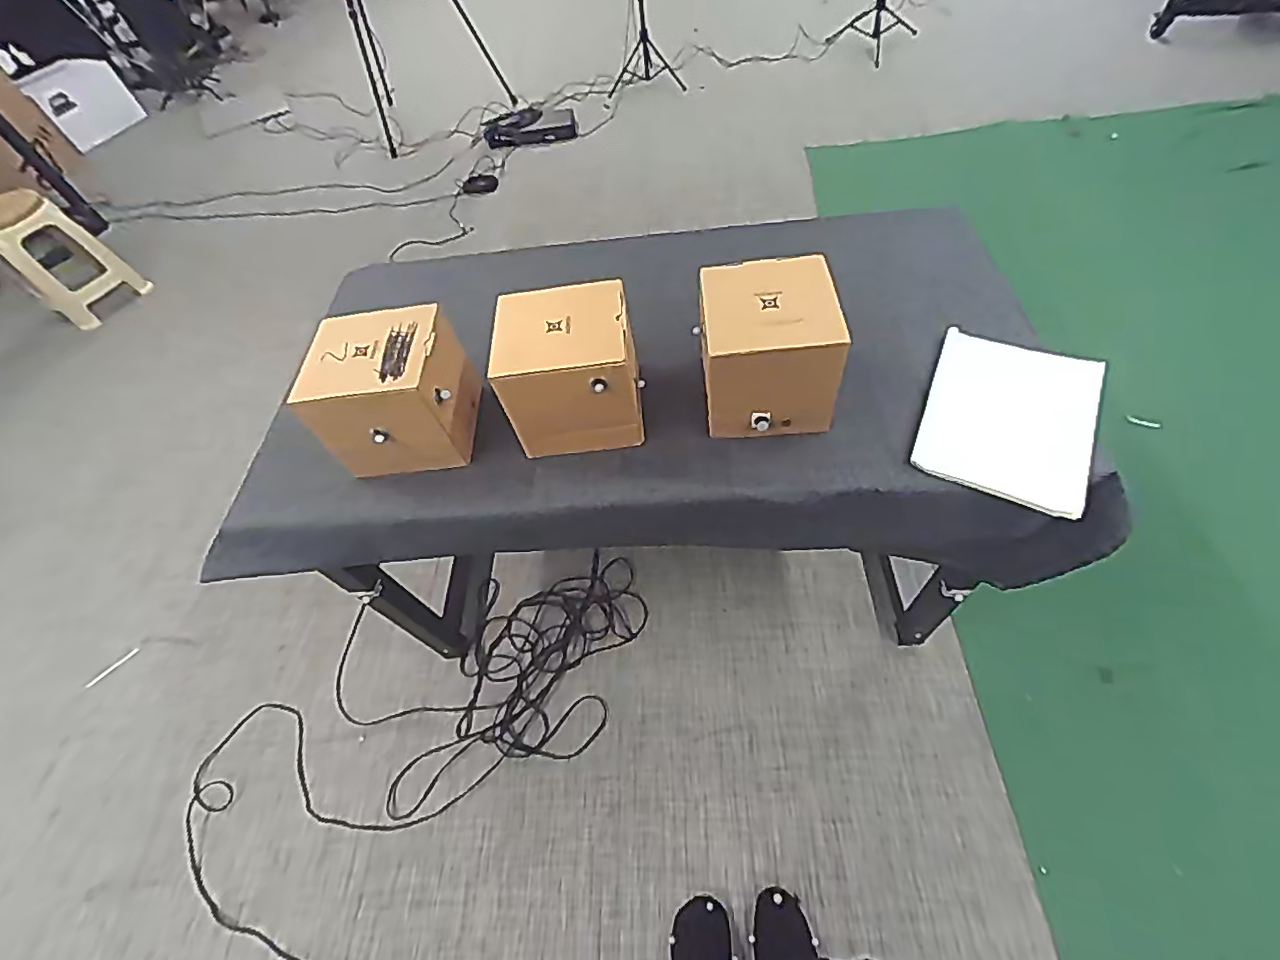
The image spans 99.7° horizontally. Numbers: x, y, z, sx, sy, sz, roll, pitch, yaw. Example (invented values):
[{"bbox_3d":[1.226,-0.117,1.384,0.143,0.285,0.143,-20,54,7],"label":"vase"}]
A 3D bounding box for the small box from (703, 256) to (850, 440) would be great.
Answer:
[{"bbox_3d":[0.175,-0.178,0.748,0.168,0.176,0.179,-5,56,7],"label":"small box"}]

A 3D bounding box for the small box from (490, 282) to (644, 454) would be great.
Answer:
[{"bbox_3d":[-0.094,-0.152,0.771,0.179,0.176,0.168,-7,55,3],"label":"small box"}]
